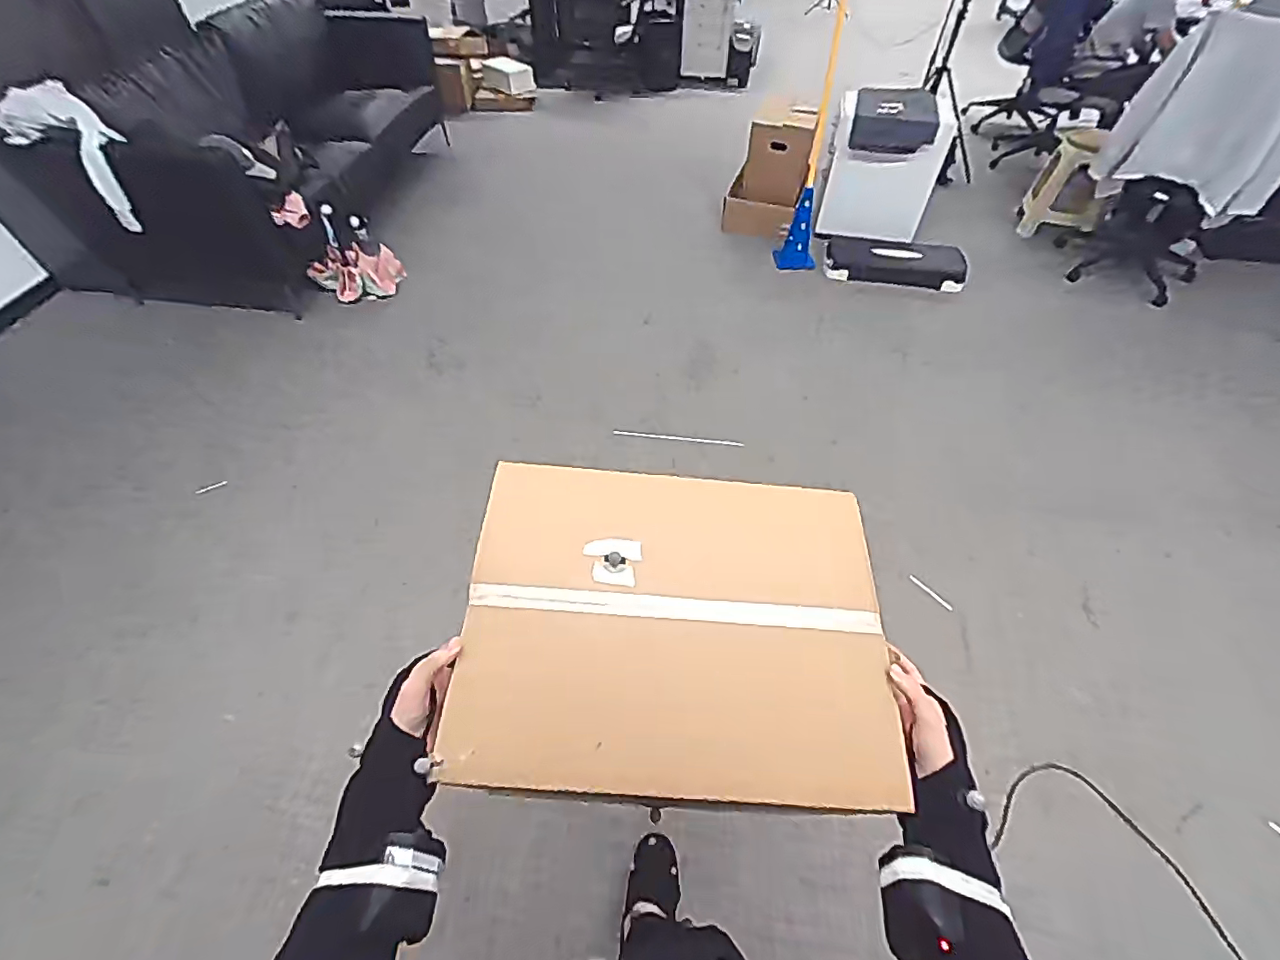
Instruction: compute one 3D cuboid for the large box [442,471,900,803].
[{"bbox_3d":[0.028,0.208,0.665,0.408,0.320,0.320,4,58,-2],"label":"large box"}]
